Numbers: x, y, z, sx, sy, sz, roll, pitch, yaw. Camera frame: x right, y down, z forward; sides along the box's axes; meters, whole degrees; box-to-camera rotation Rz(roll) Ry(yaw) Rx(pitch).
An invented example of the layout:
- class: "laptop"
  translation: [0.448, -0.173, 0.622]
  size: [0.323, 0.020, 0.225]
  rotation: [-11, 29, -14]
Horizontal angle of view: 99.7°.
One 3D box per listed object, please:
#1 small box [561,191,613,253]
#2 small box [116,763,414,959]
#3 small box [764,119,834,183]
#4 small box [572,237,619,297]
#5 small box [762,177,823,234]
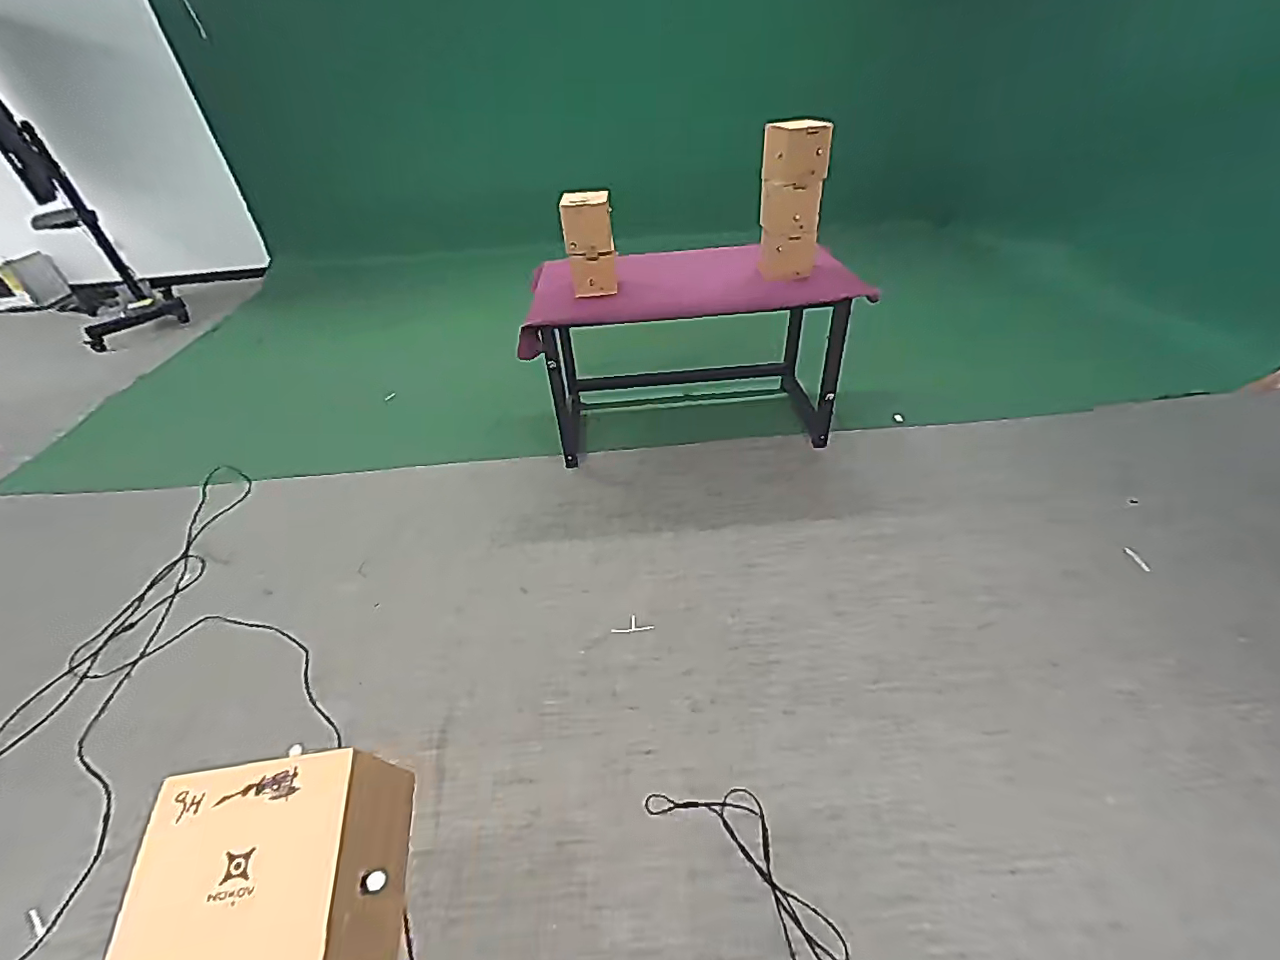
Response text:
- class: "small box"
  translation: [-0.190, -0.942, 1.983]
  size: [0.168, 0.176, 0.179]
  rotation: [-2, 40, 2]
- class: "small box"
  translation: [-0.326, 0.381, 0.506]
  size: [0.168, 0.176, 0.179]
  rotation: [-6, 56, -5]
- class: "small box"
  translation: [0.550, -1.149, 1.893]
  size: [0.168, 0.176, 0.179]
  rotation: [-14, 39, -11]
- class: "small box"
  translation: [-0.172, -0.827, 2.100]
  size: [0.168, 0.176, 0.179]
  rotation: [-6, 41, -2]
- class: "small box"
  translation: [0.556, -1.022, 1.994]
  size: [0.168, 0.176, 0.179]
  rotation: [-7, 39, -2]
